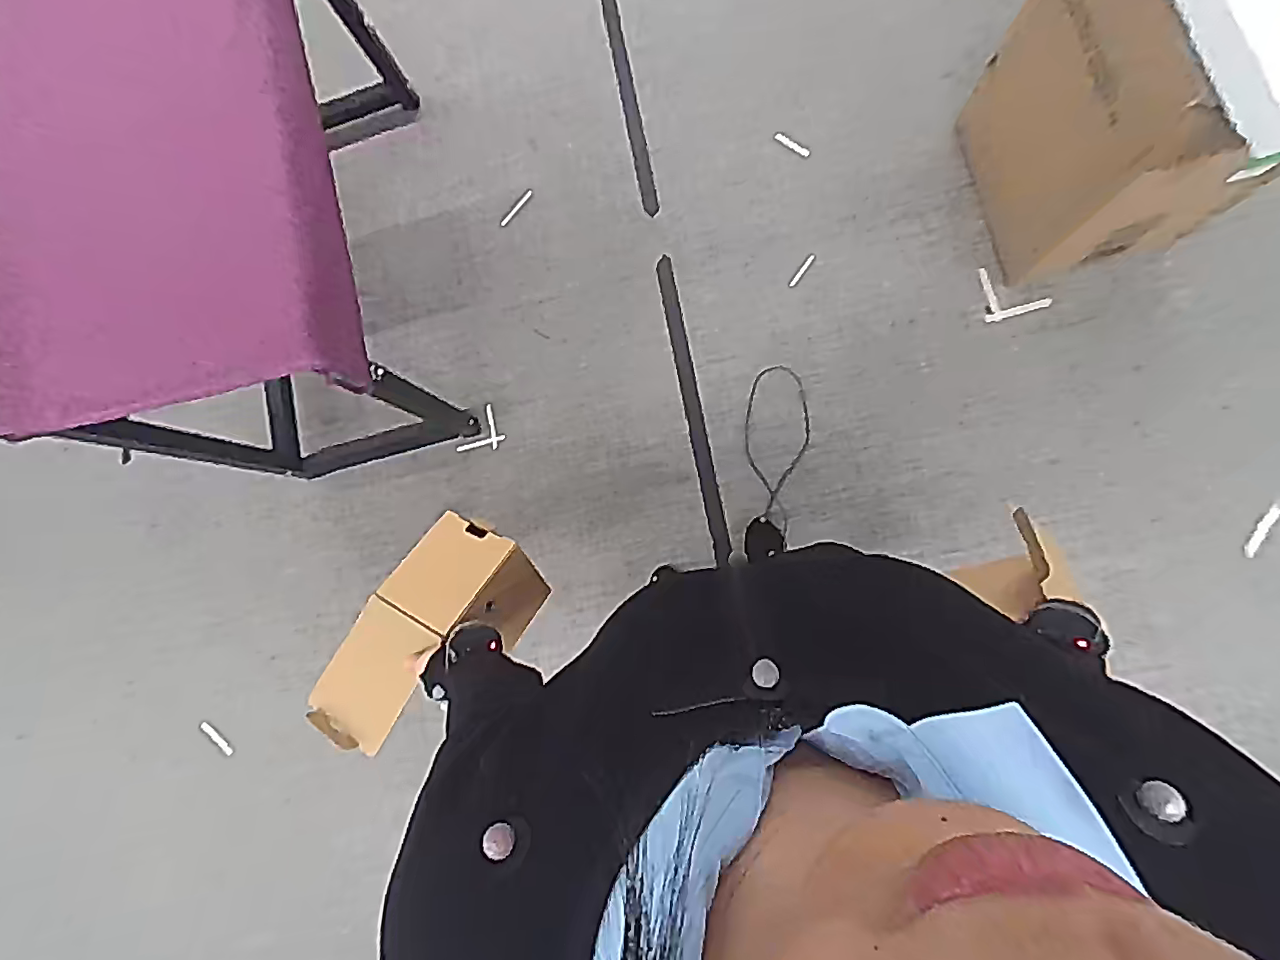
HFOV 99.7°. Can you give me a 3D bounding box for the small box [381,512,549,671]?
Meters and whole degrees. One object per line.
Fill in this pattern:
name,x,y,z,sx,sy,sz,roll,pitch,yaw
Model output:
small box,-0.279,0.189,0.904,0.168,0.176,0.179,19,58,28
